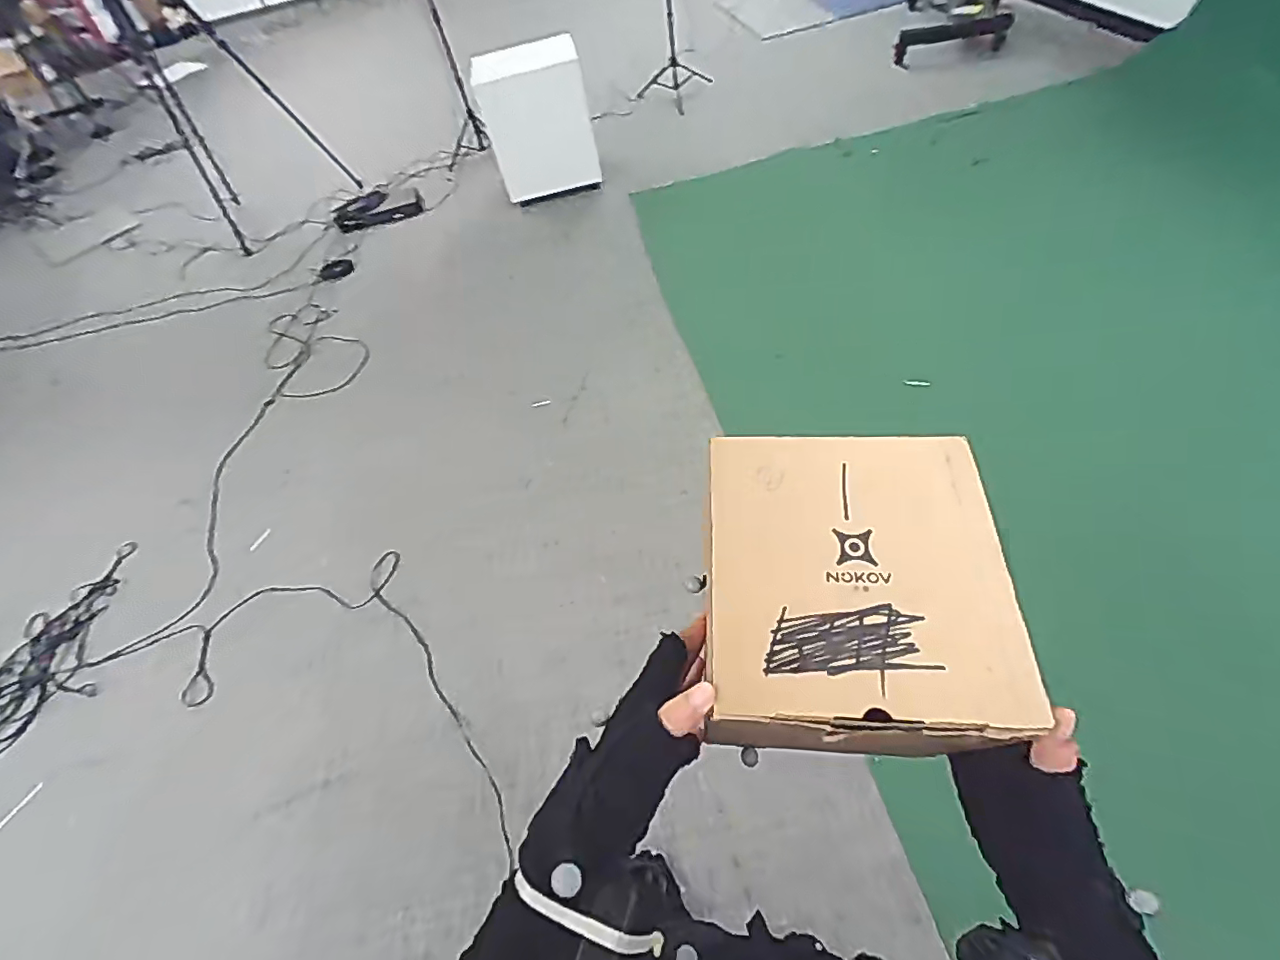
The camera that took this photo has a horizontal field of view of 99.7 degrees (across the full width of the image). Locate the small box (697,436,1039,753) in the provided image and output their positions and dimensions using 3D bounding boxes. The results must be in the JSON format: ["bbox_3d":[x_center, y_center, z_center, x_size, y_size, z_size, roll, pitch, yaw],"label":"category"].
[{"bbox_3d":[0.125,0.087,0.379,0.168,0.176,0.179,1,59,5],"label":"small box"}]
